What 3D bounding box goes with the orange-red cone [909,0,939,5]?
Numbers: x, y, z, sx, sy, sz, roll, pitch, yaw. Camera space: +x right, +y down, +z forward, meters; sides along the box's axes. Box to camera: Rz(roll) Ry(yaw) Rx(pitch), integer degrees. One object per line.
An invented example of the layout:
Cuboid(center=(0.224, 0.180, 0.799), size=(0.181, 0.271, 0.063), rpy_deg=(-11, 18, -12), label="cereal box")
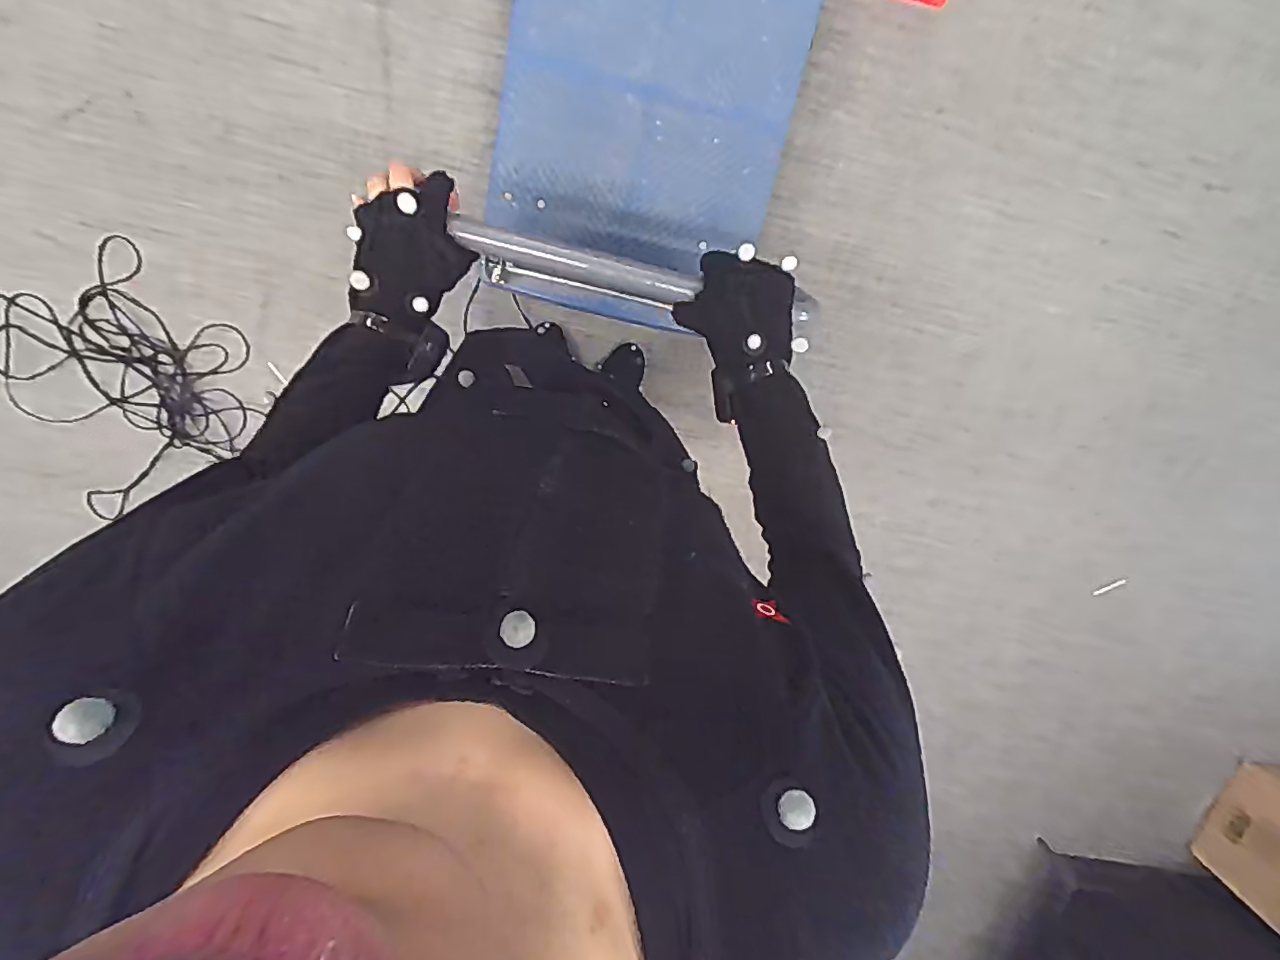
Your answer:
Cuboid(center=(0.591, -1.111, 1.003), size=(0.199, 0.360, 0.198), rpy_deg=(12, 106, -3), label="orange-red cone")
